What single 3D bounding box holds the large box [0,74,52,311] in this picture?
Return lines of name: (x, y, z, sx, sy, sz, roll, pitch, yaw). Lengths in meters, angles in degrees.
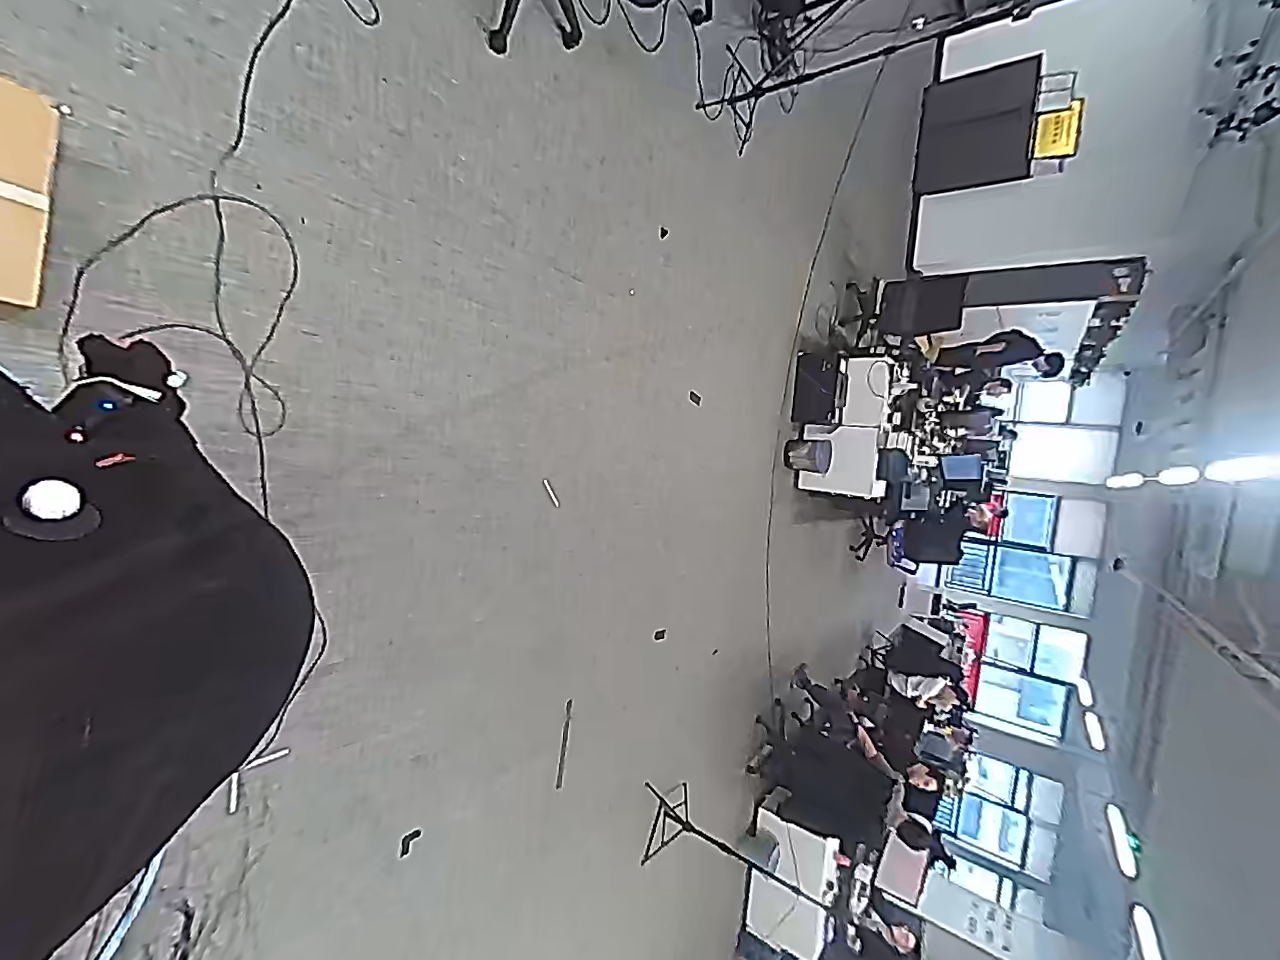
large box: (-1.128, -0.446, 0.729, 0.408, 0.320, 0.320, 7, 92, -55)
